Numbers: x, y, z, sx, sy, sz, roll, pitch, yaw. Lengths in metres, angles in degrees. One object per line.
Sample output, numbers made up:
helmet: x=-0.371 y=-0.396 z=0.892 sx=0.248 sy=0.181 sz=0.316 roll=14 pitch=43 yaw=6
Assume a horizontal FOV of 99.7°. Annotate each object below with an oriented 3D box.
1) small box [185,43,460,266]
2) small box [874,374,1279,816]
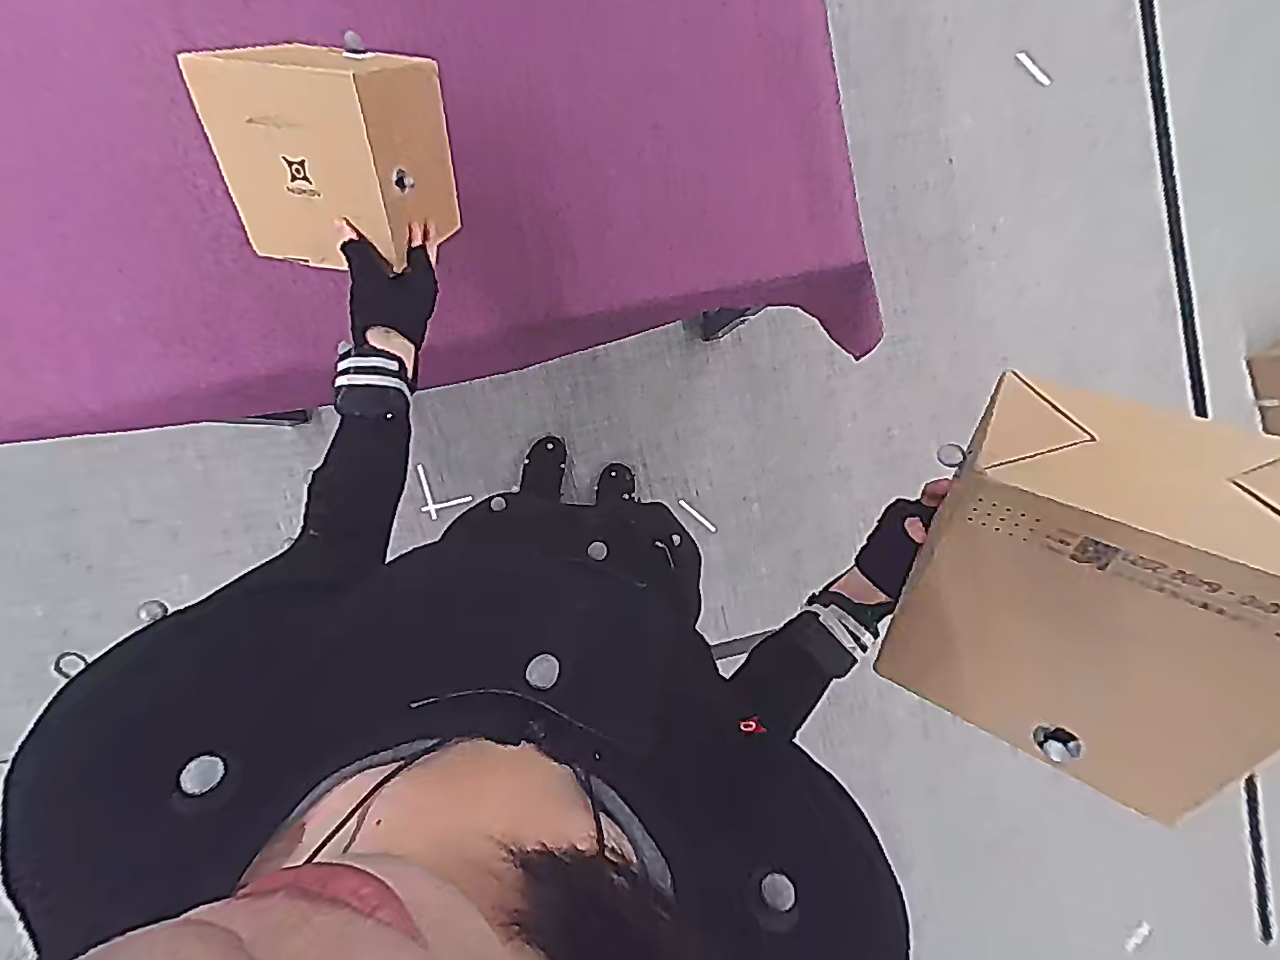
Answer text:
small box: x=-0.314 y=-0.354 z=0.585 sx=0.168 sy=0.176 sz=0.179 roll=7 pitch=131 yaw=5
small box: x=0.274 y=0.049 z=0.334 sx=0.168 sy=0.179 sz=0.176 roll=24 pitch=131 yaw=26
